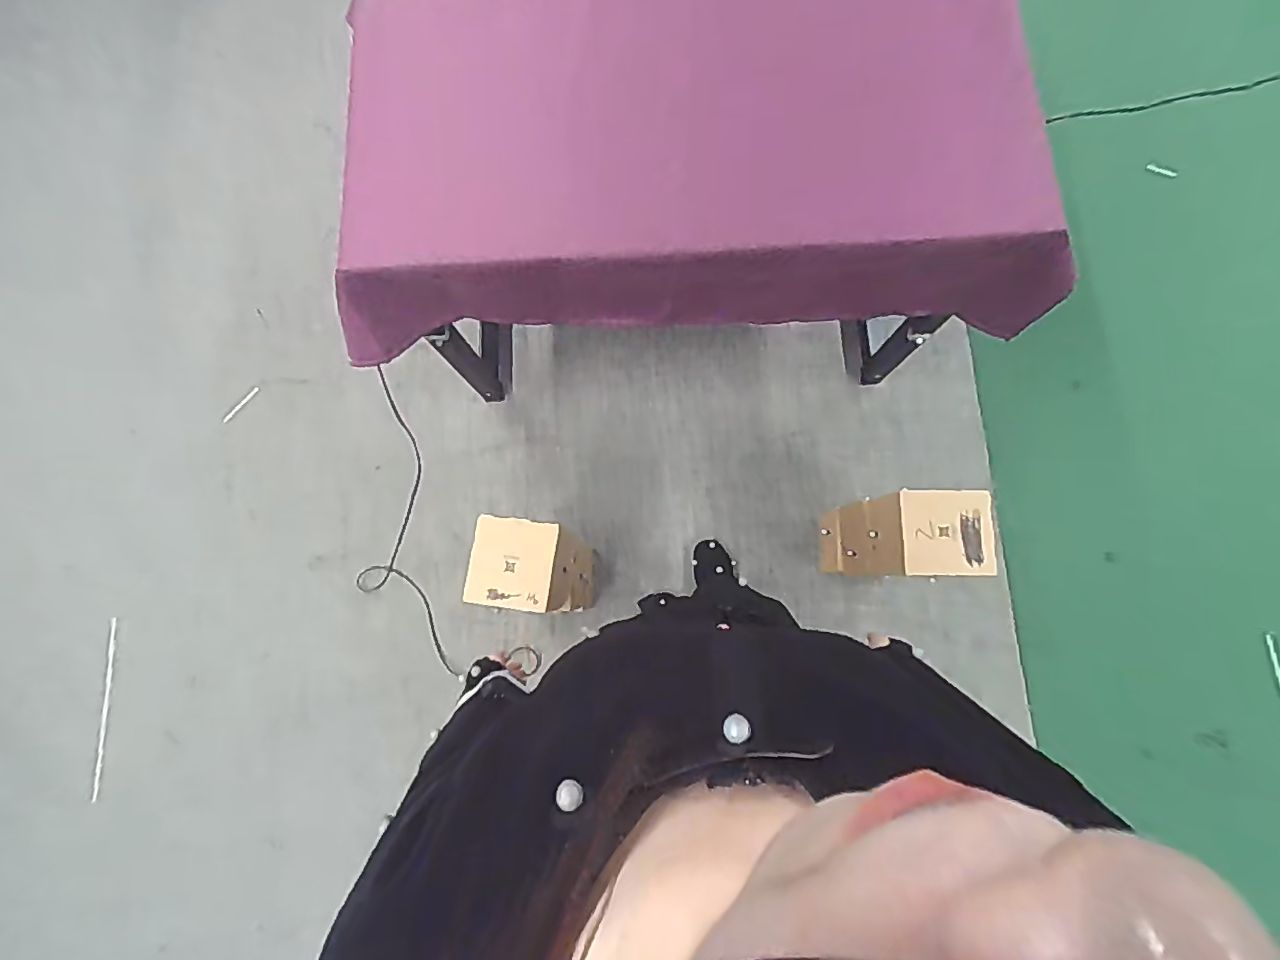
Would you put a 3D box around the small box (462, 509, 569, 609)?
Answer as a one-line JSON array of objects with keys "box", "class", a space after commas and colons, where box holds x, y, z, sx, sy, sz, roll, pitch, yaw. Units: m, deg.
[{"box": [-0.249, 0.167, 1.128, 0.168, 0.176, 0.179, 7, 79, 3], "class": "small box"}]

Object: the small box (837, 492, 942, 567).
[{"box": [0.581, 0.122, 1.284, 0.179, 0.176, 0.168, -1, 81, 0], "class": "small box"}]

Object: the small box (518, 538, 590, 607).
[{"box": [-0.225, 0.246, 1.448, 0.168, 0.176, 0.179, 1, 79, 1], "class": "small box"}]

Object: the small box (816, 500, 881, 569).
[{"box": [0.576, 0.149, 1.444, 0.179, 0.176, 0.168, 2, 80, 1], "class": "small box"}]
